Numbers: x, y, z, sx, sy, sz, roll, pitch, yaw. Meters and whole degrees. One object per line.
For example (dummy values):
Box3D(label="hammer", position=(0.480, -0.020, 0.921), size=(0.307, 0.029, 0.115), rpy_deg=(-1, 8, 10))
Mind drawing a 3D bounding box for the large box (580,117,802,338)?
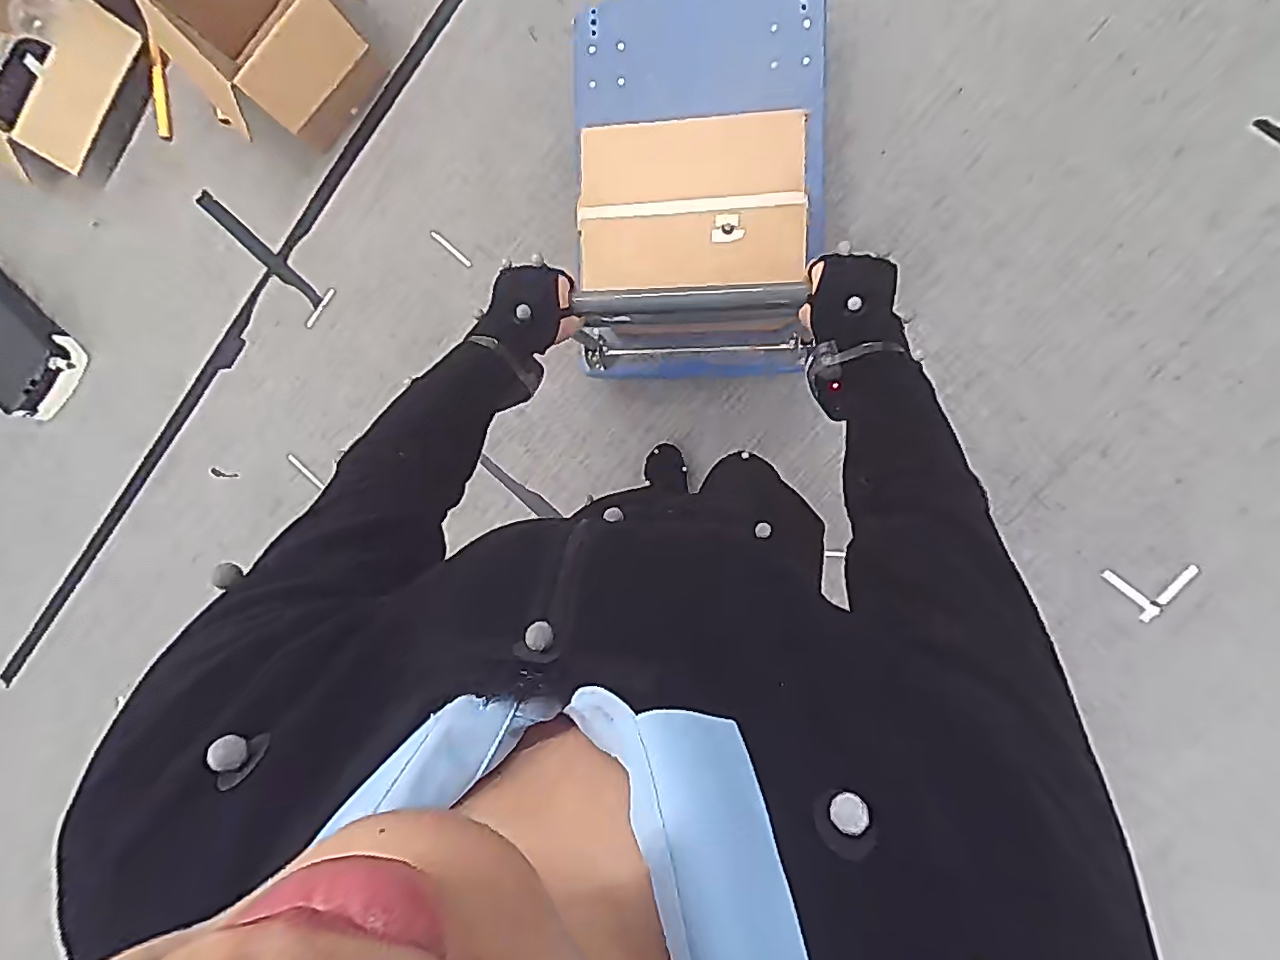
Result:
Box3D(label="large box", position=(0.104, -0.489, 1.126), size=(0.408, 0.320, 0.320), rpy_deg=(0, 94, 7))
